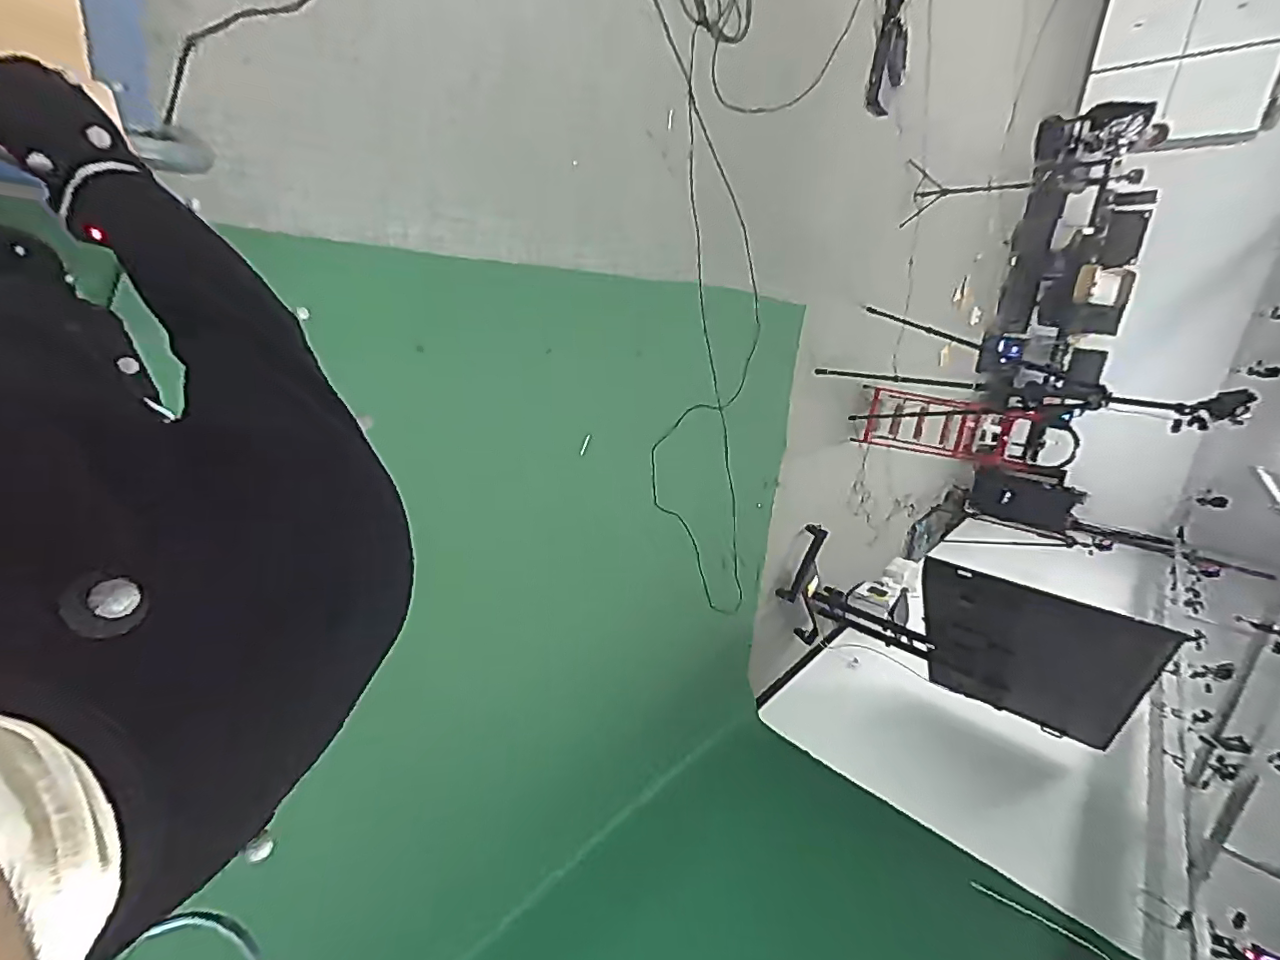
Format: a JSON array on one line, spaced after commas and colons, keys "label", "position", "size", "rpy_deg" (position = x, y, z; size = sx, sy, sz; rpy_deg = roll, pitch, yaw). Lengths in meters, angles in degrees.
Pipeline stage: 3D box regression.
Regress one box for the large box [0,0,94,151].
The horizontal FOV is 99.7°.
[{"label": "large box", "position": [-0.980, -0.712, 0.706], "size": [0.320, 0.320, 0.408], "rpy_deg": [-13, 113, -47]}]
